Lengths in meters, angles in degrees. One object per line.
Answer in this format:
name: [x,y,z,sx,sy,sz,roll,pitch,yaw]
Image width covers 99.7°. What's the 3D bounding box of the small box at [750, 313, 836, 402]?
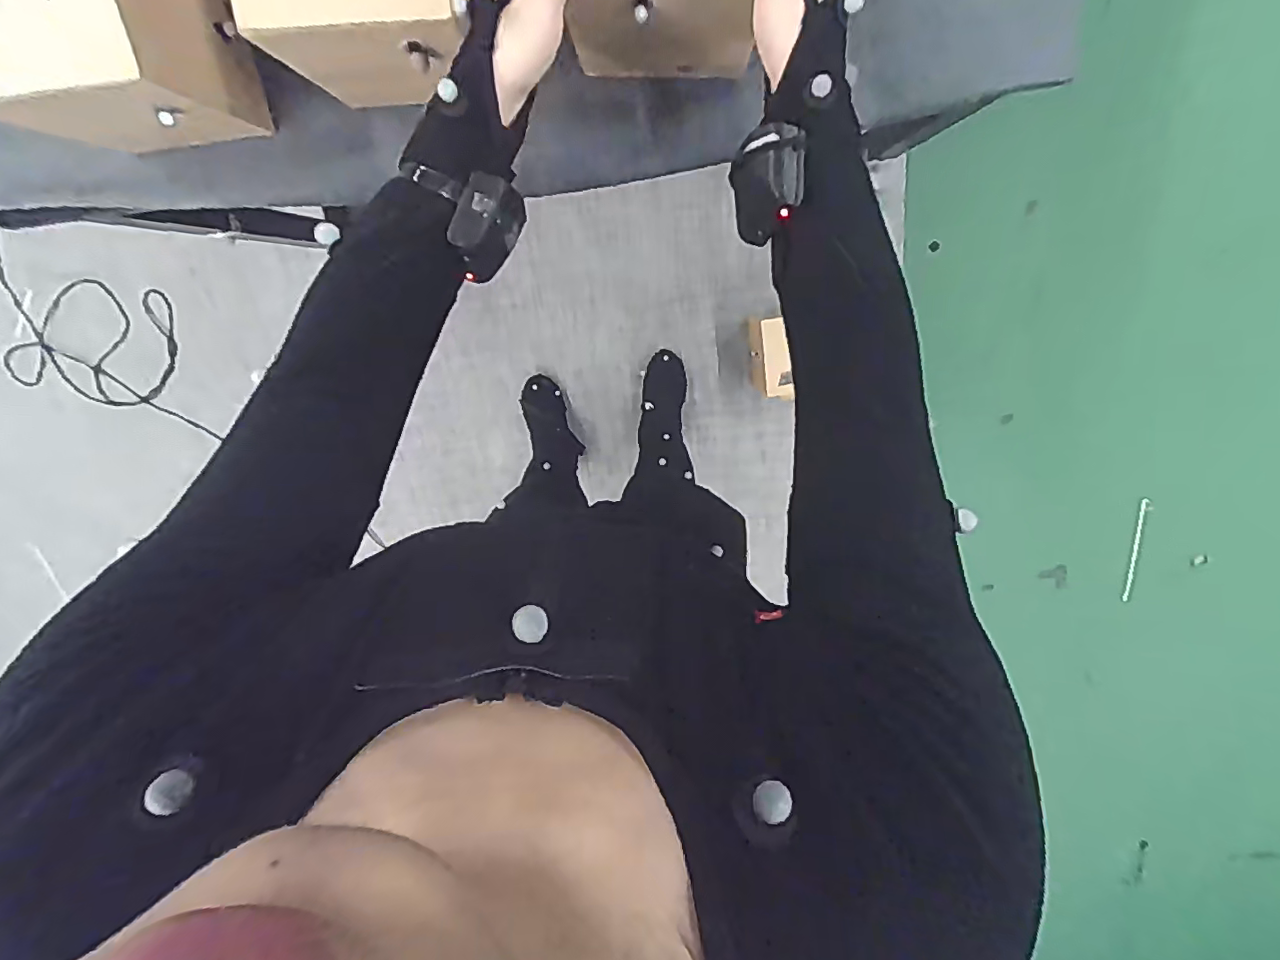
small box: [0.357,-0.293,1.277,0.168,0.176,0.179,-7,108,5]
